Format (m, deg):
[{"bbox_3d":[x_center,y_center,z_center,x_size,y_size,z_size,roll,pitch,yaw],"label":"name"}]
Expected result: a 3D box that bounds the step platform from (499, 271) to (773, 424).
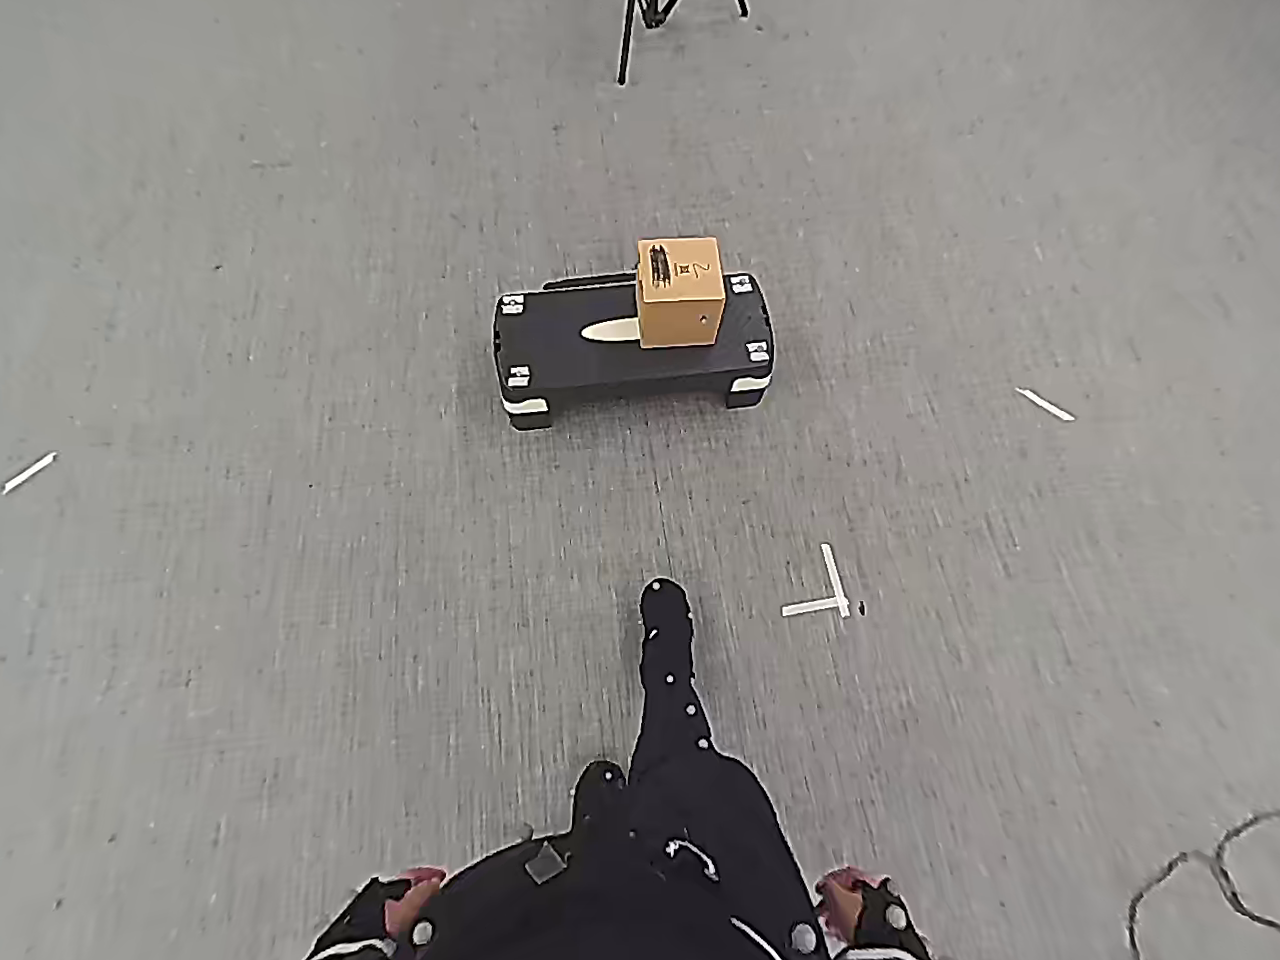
[{"bbox_3d":[-0.010,-0.343,1.390,0.684,0.204,0.286,-7,70,-3],"label":"step platform"}]
